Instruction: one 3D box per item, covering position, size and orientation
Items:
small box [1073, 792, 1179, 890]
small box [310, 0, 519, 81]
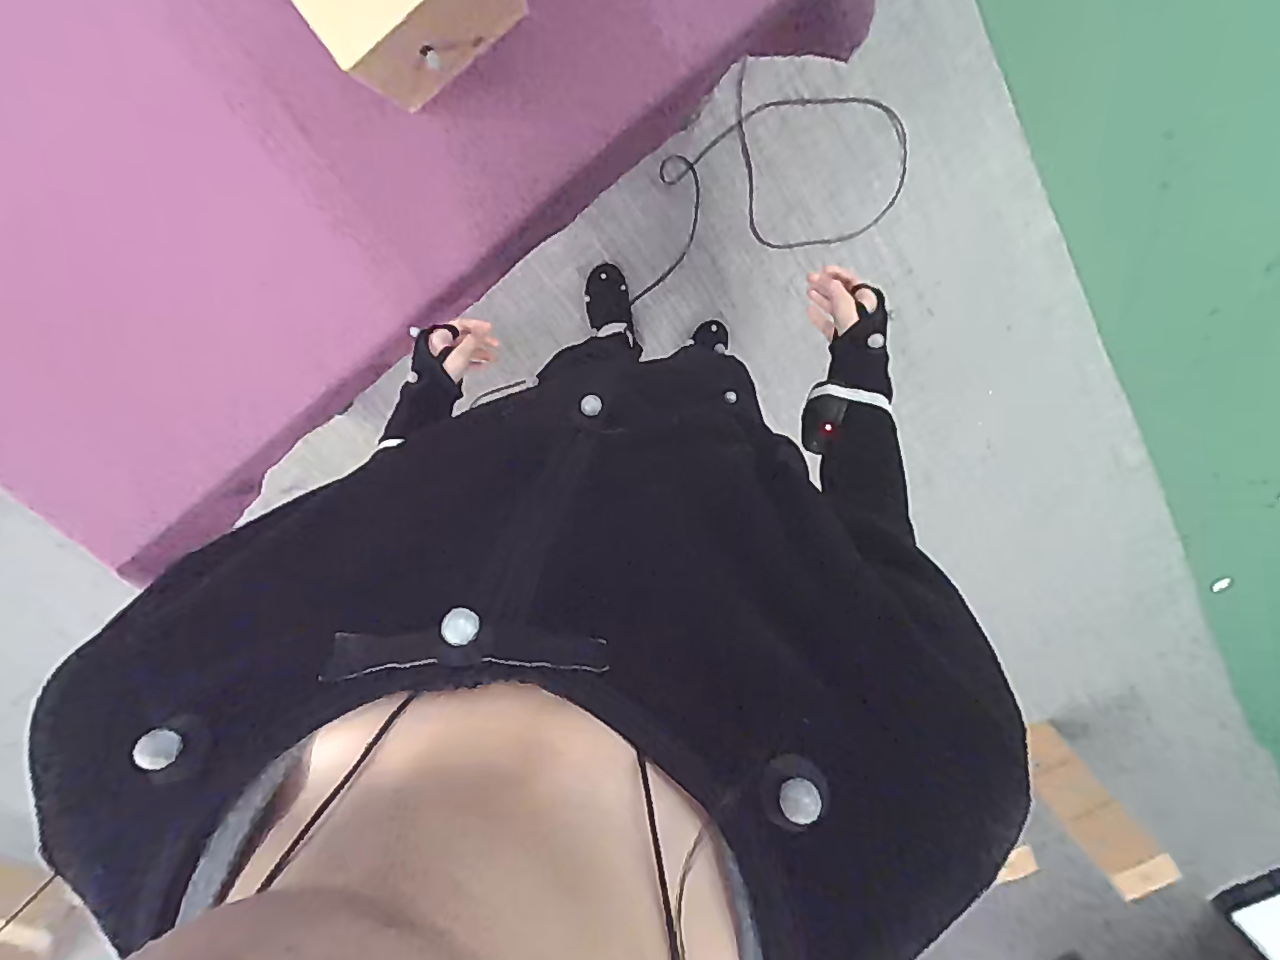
[{"bbox_3d":[1.514,1.131,1.700,0.179,0.176,0.168,-36,111,12],"label":"small box"},{"bbox_3d":[-0.222,-0.491,0.470,0.168,0.176,0.179,-32,111,12],"label":"small box"}]
